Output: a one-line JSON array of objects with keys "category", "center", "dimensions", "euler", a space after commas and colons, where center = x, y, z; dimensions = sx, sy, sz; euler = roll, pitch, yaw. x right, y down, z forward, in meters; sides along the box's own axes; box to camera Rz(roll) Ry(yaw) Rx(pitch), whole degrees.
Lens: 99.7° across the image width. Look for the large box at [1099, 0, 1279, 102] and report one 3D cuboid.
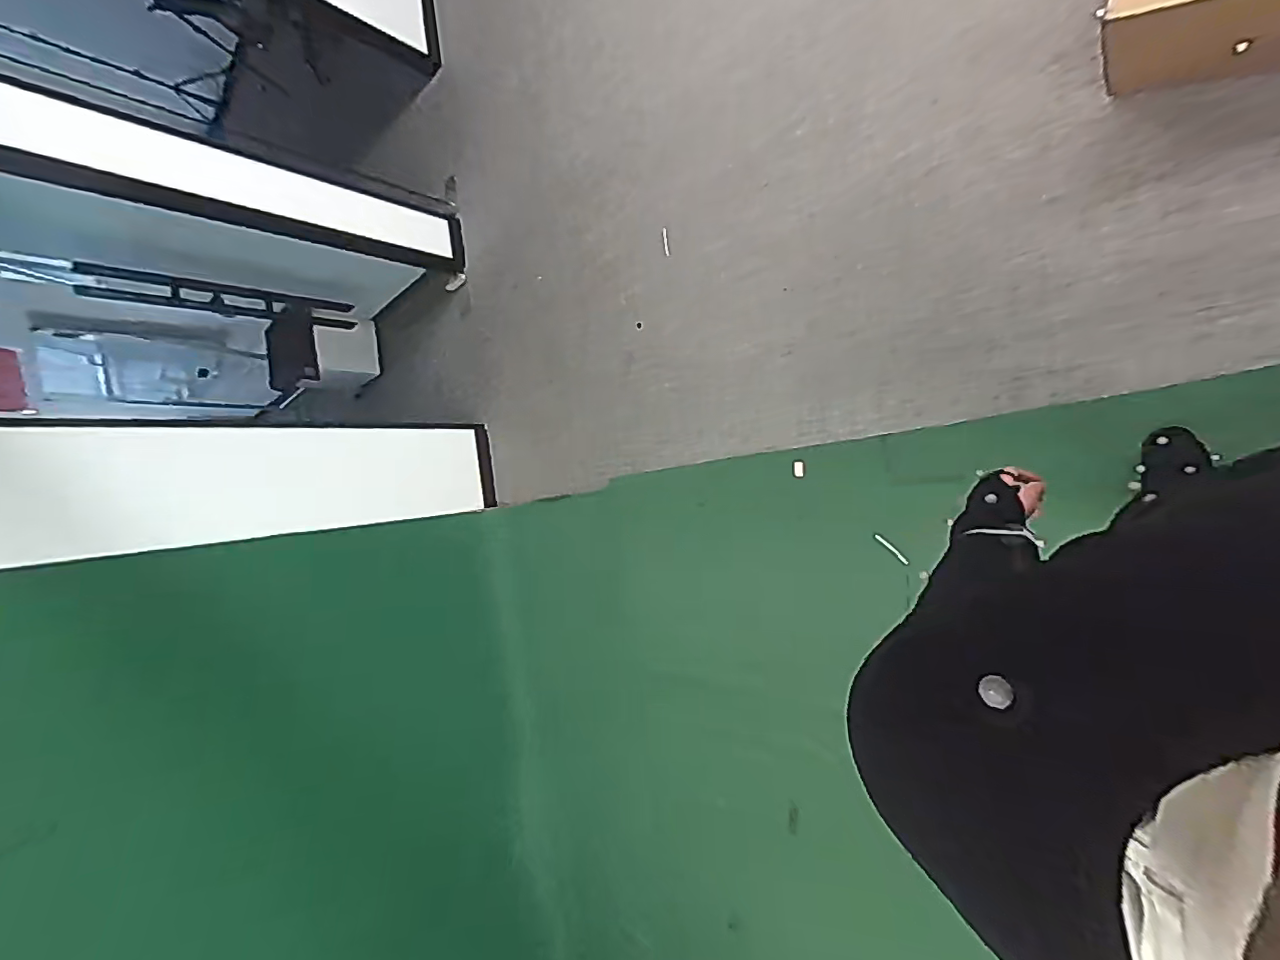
[{"category": "large box", "center": [1.138, -0.955, 0.975], "dimensions": [0.408, 0.320, 0.320], "euler": [19, 105, 41]}]
